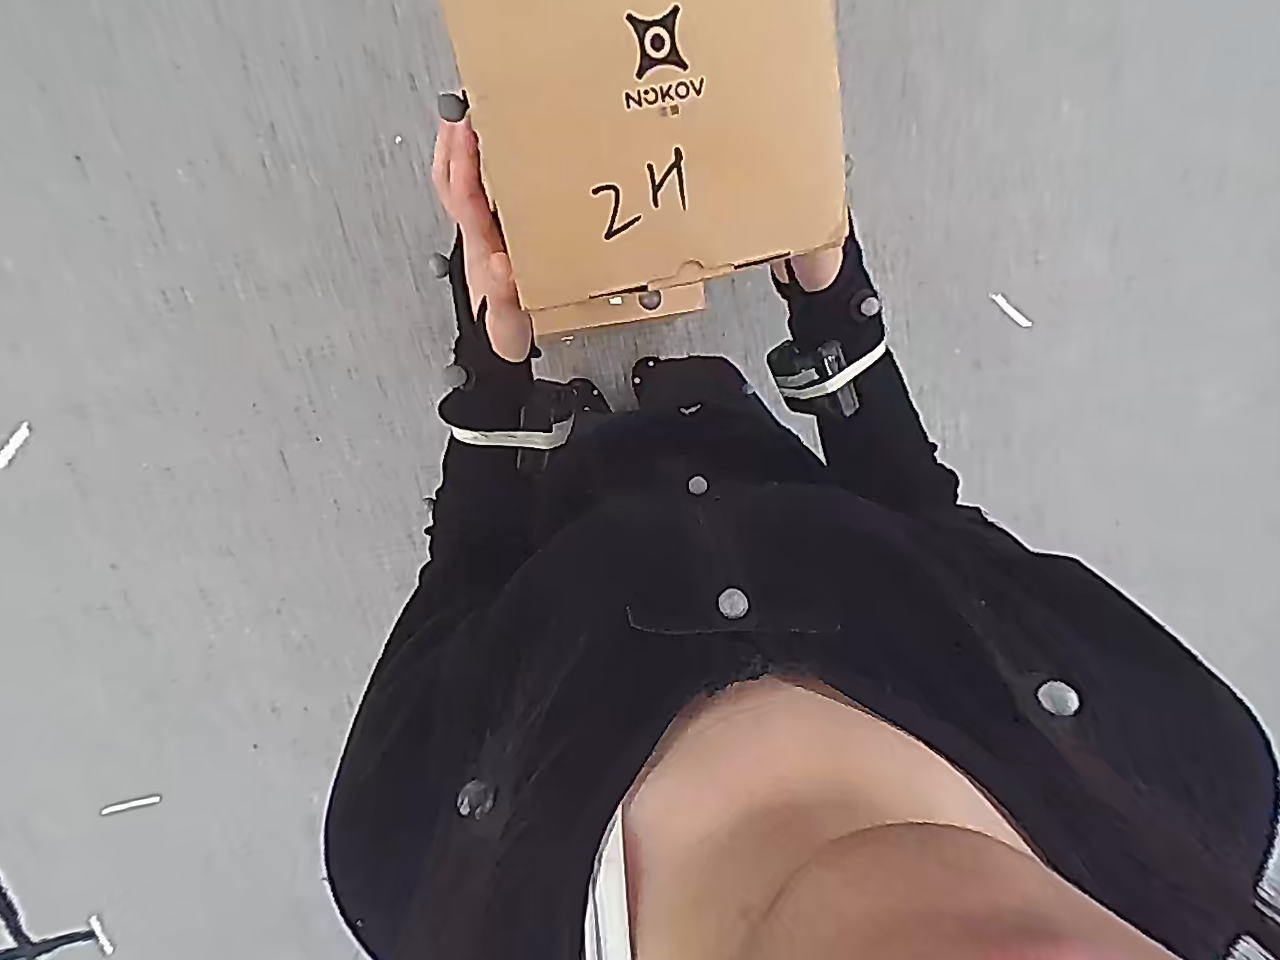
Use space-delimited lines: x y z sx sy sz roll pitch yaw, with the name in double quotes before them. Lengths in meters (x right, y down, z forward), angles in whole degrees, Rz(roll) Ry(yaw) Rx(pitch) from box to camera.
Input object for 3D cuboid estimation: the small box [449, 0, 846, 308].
"small box" -0.006 -0.201 0.307 0.168 0.176 0.179 -14 110 -5
